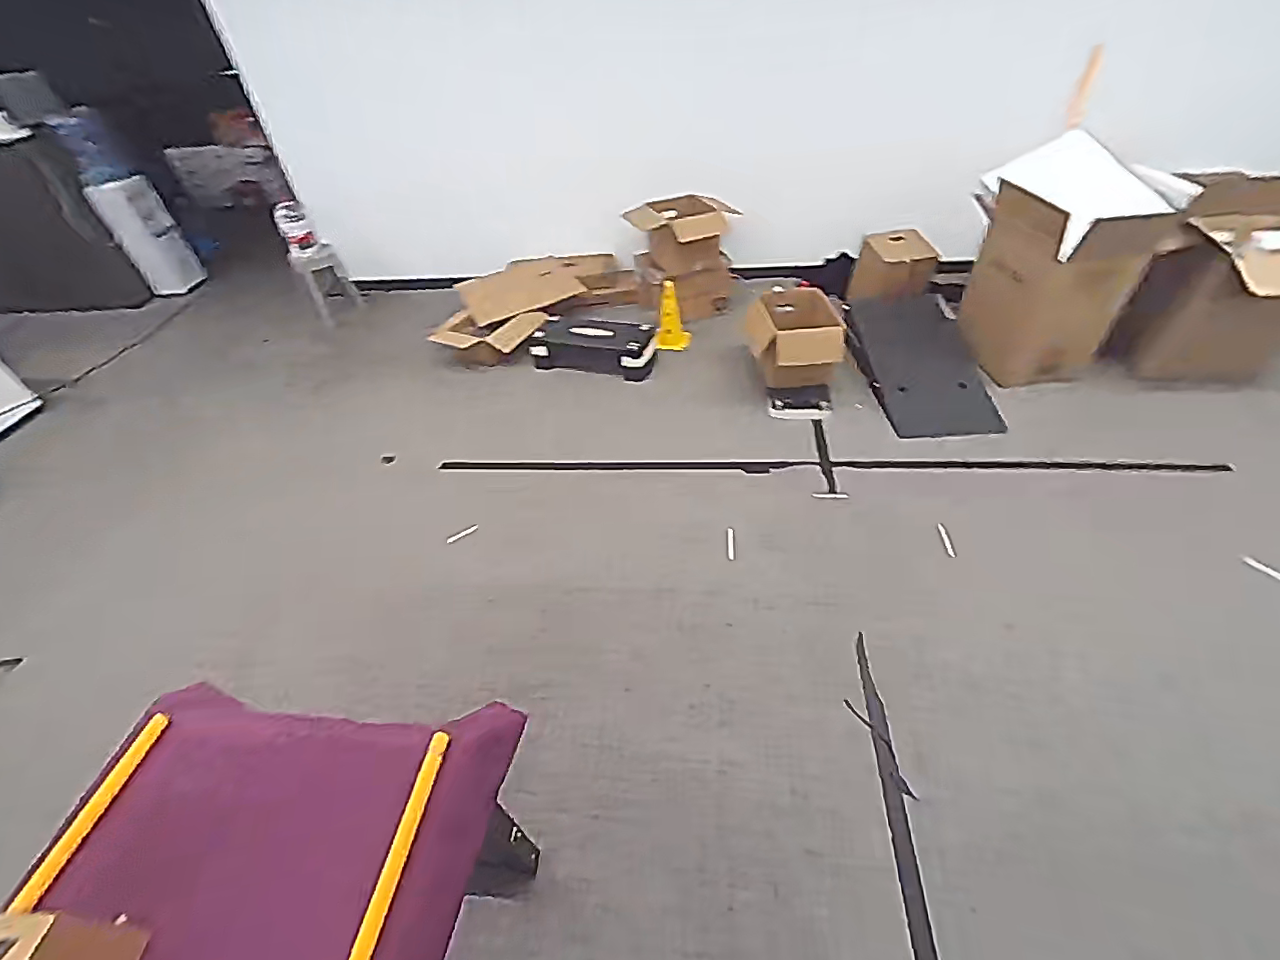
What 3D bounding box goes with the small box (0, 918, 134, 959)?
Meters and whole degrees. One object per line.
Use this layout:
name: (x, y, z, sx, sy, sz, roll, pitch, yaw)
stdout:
small box: (-0.754, 0.630, 0.624, 0.168, 0.176, 0.179, -1, 45, 4)
